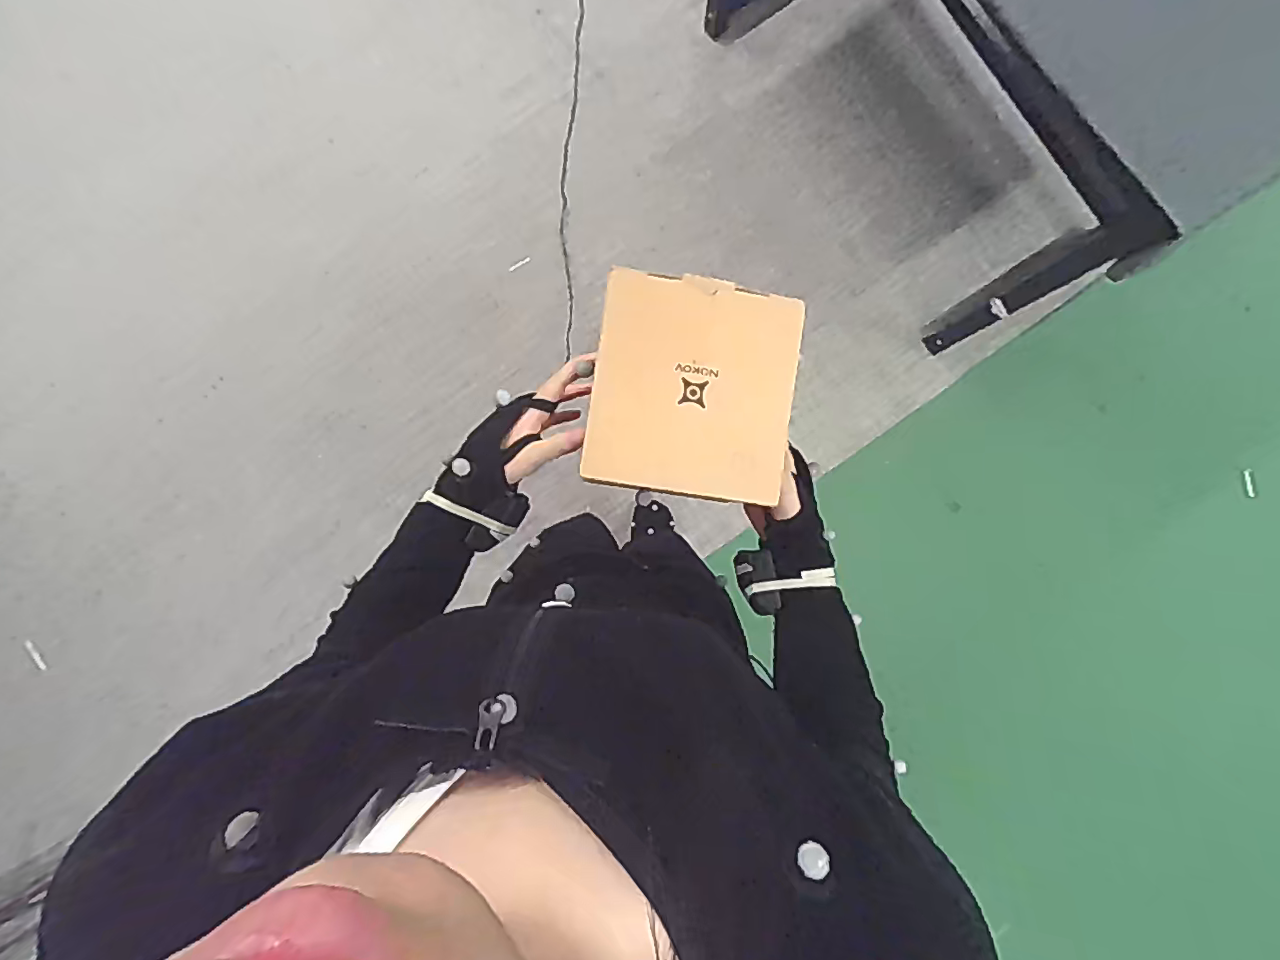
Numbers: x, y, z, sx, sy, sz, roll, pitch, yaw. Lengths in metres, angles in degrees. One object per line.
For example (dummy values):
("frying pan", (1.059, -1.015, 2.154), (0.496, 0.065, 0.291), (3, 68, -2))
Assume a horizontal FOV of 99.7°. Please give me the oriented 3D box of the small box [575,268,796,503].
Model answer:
("small box", (0.034, -0.075, 0.523), (0.168, 0.176, 0.179), (8, 87, -4))
